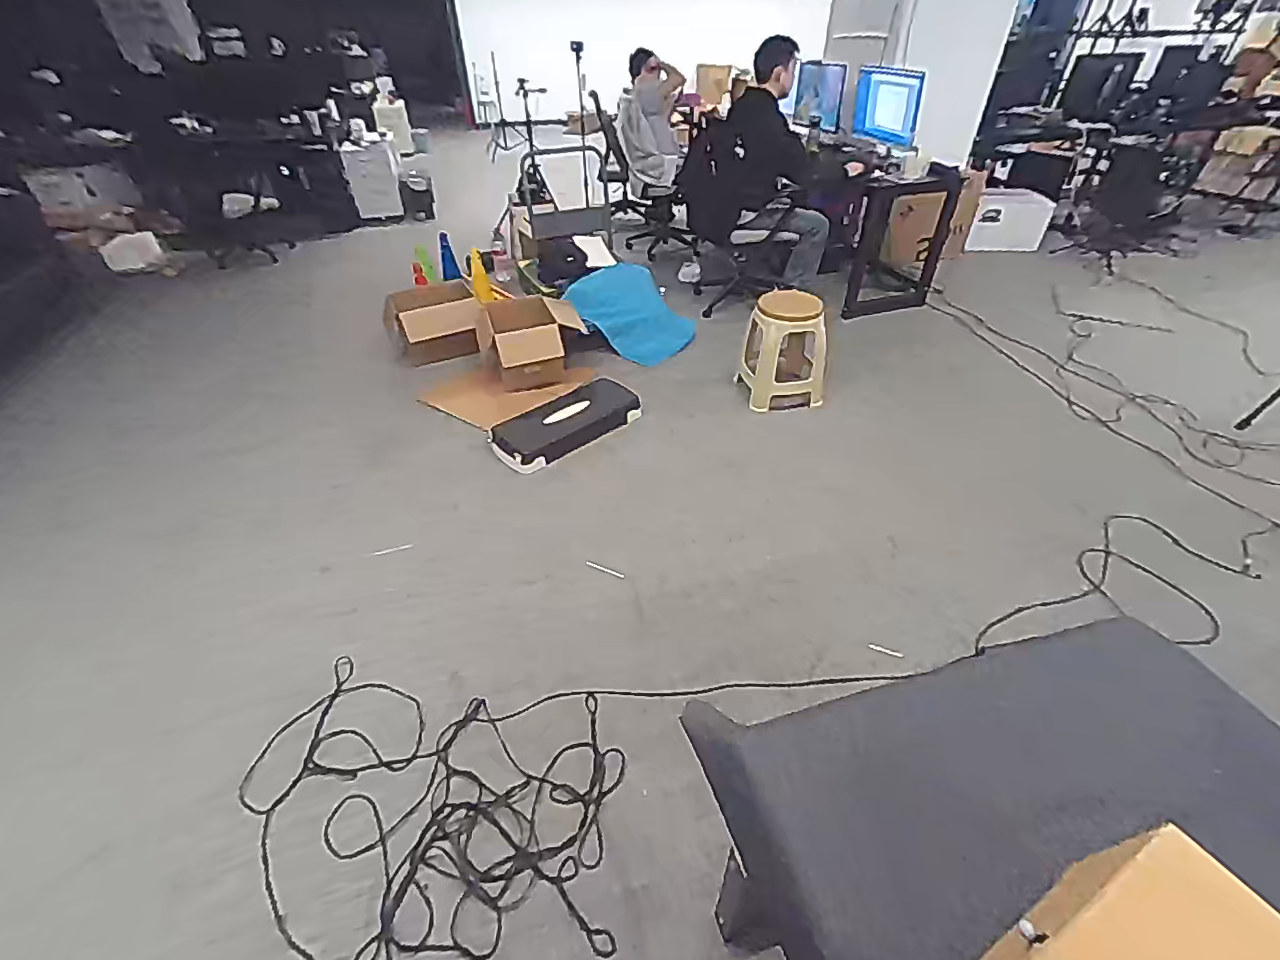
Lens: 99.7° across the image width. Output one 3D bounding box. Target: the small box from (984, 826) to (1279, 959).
[{"bbox_3d":[0.386,0.399,0.393,0.179,0.176,0.168,-28,47,-16],"label":"small box"}]
